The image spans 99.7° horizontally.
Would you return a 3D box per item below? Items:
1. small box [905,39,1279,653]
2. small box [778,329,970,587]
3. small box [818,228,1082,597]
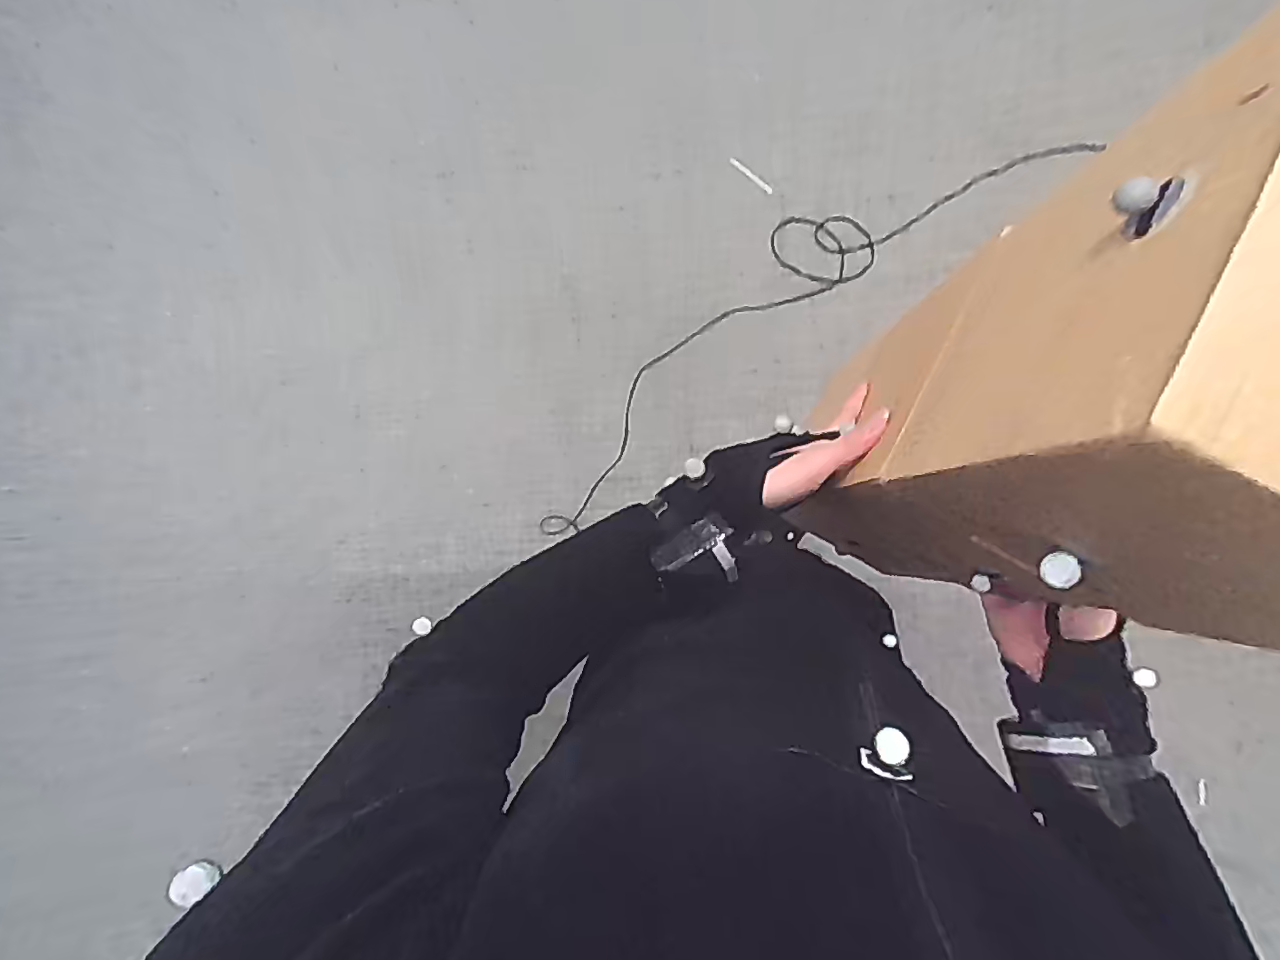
[{"bbox_3d":[0.246,-0.040,0.222,0.168,0.176,0.179,29,86,4],"label":"small box"},{"bbox_3d":[0.256,-0.013,0.548,0.168,0.176,0.179,29,86,5],"label":"small box"},{"bbox_3d":[0.249,-0.028,0.386,0.168,0.176,0.179,27,84,3],"label":"small box"}]
